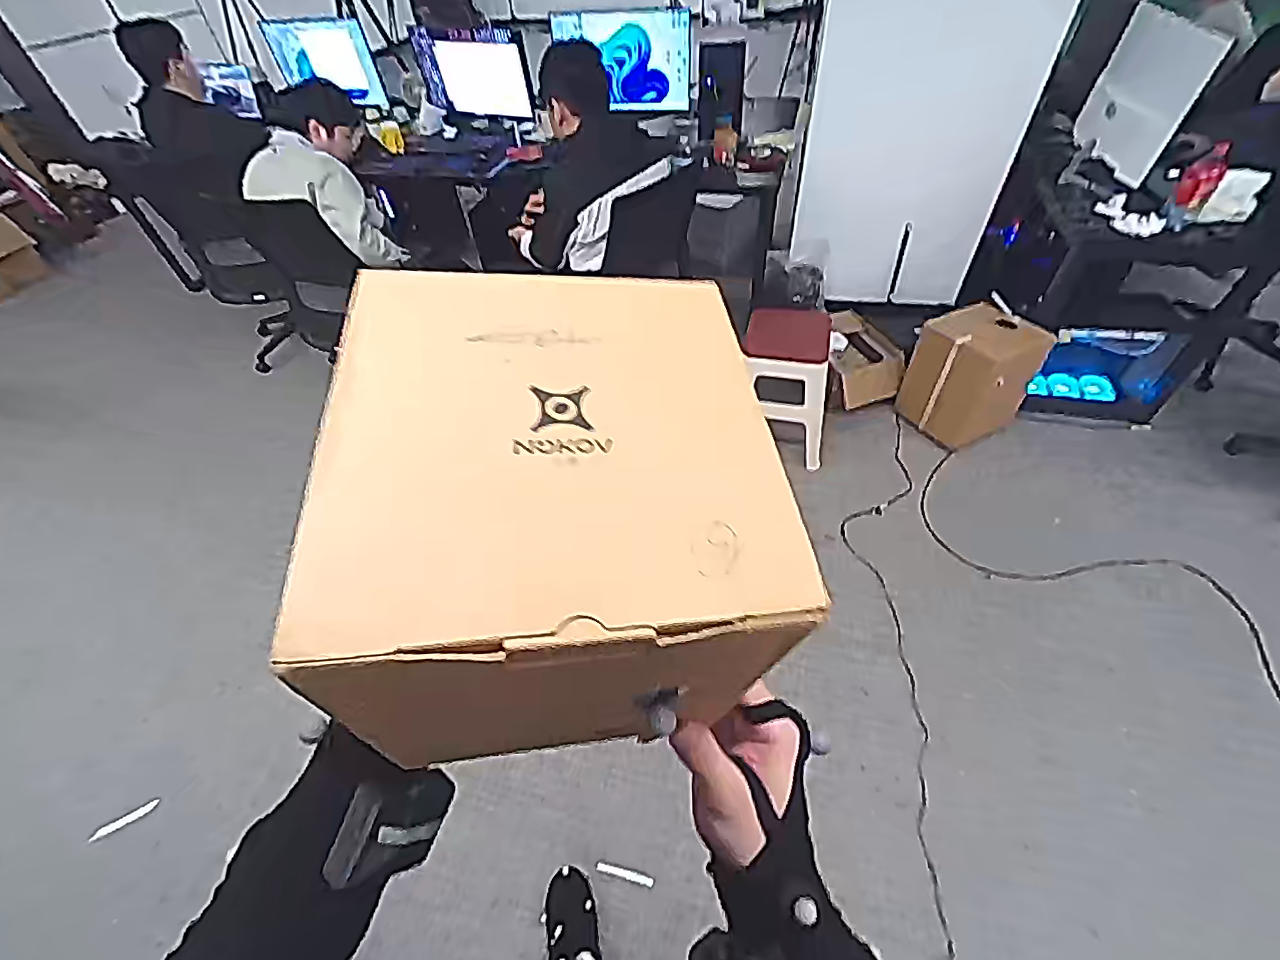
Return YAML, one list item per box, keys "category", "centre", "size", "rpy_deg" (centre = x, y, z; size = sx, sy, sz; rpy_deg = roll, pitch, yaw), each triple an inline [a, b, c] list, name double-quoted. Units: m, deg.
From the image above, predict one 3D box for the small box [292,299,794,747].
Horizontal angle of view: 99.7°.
- category: "small box"
  centre: [-0.046, 0.029, 0.284]
  size: [0.168, 0.176, 0.179]
  rpy_deg: [-3, 55, -12]
